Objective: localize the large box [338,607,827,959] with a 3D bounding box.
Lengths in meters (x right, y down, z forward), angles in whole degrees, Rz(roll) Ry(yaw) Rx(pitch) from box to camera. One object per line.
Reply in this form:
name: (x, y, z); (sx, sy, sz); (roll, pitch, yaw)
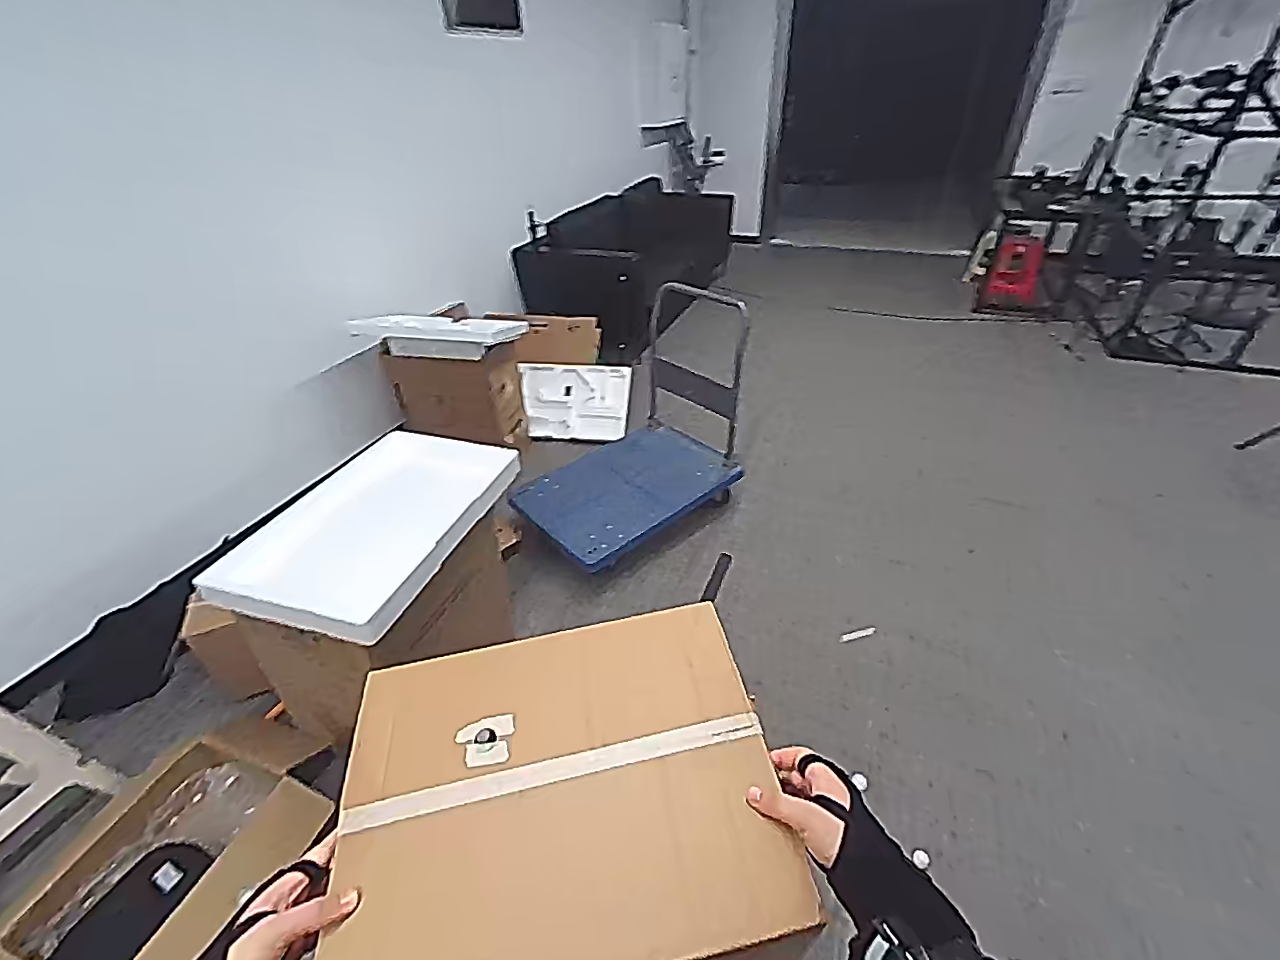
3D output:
large box: (-0.054, 0.400, 0.624); (0.408, 0.320, 0.320); (-12, 40, -4)
